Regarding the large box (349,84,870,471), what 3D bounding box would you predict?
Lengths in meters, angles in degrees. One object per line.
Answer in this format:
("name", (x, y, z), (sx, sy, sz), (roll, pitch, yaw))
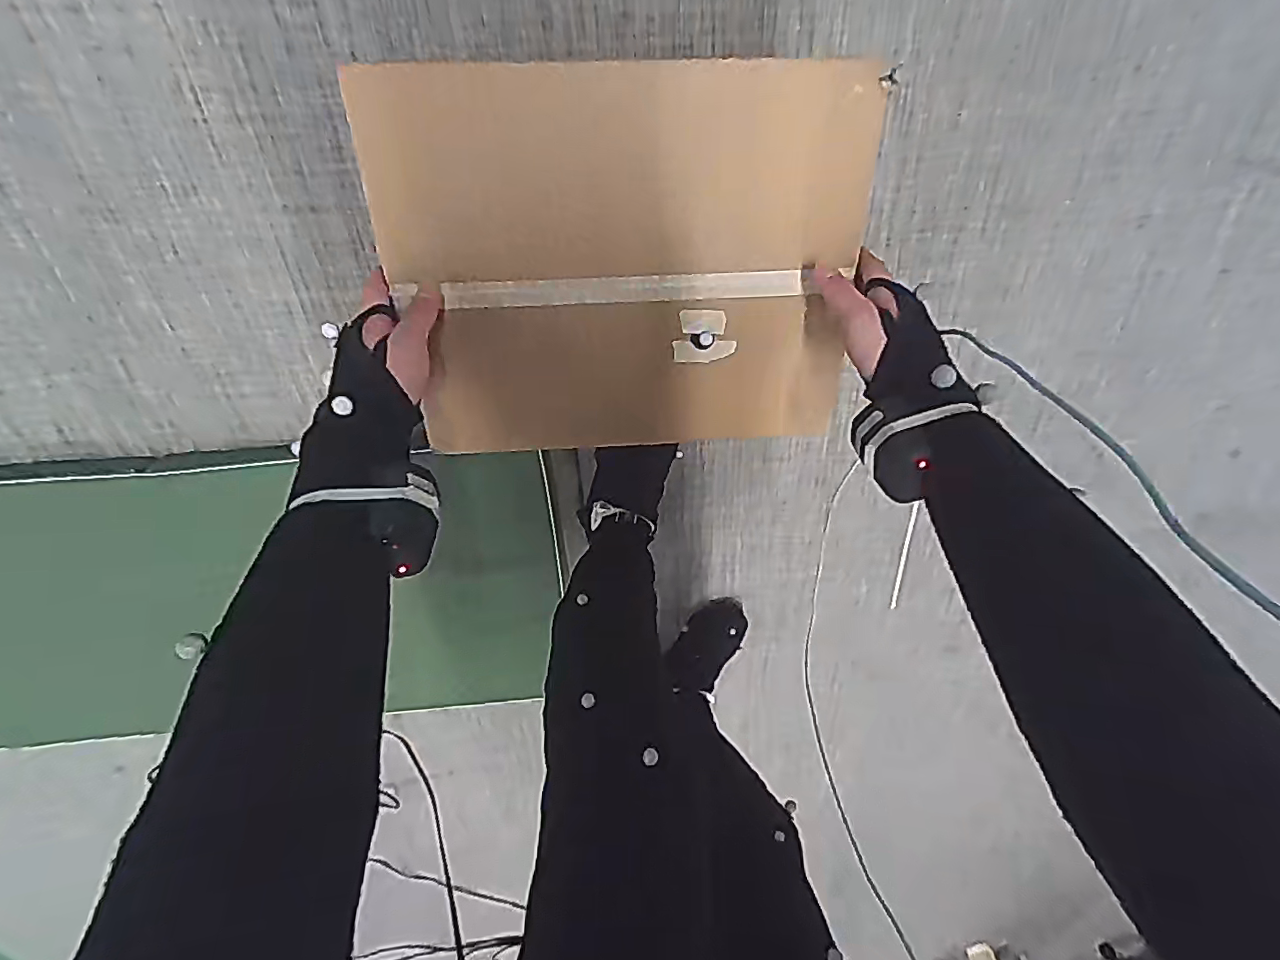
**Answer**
("large box", (-0.027, -0.230, 0.608), (0.408, 0.320, 0.320), (-4, 121, -4))
